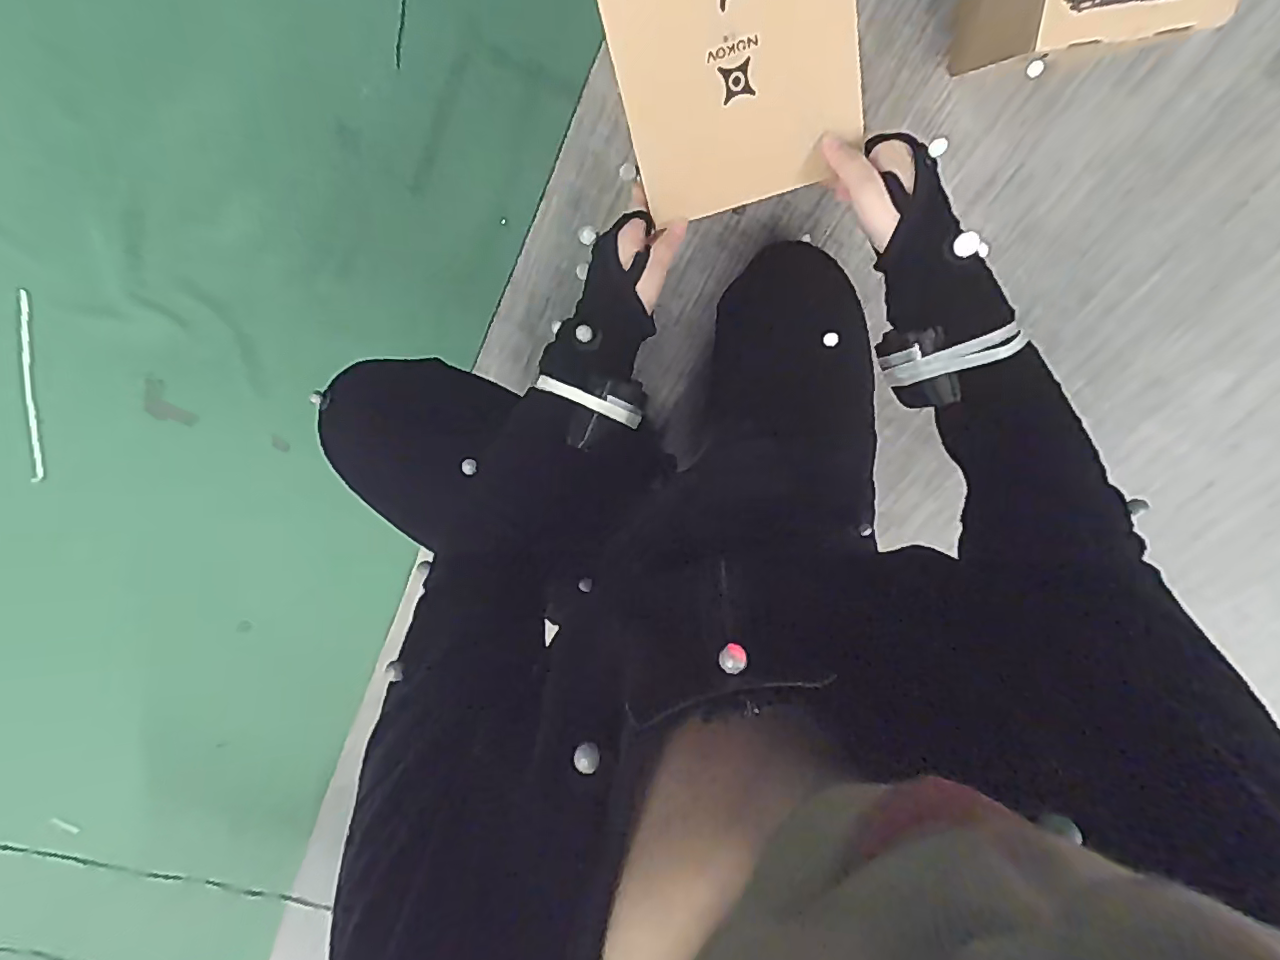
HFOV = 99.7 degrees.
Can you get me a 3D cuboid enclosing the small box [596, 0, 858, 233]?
[{"bbox_3d":[0.070,-0.329,0.452,0.168,0.176,0.179,-13,119,9],"label":"small box"}]
